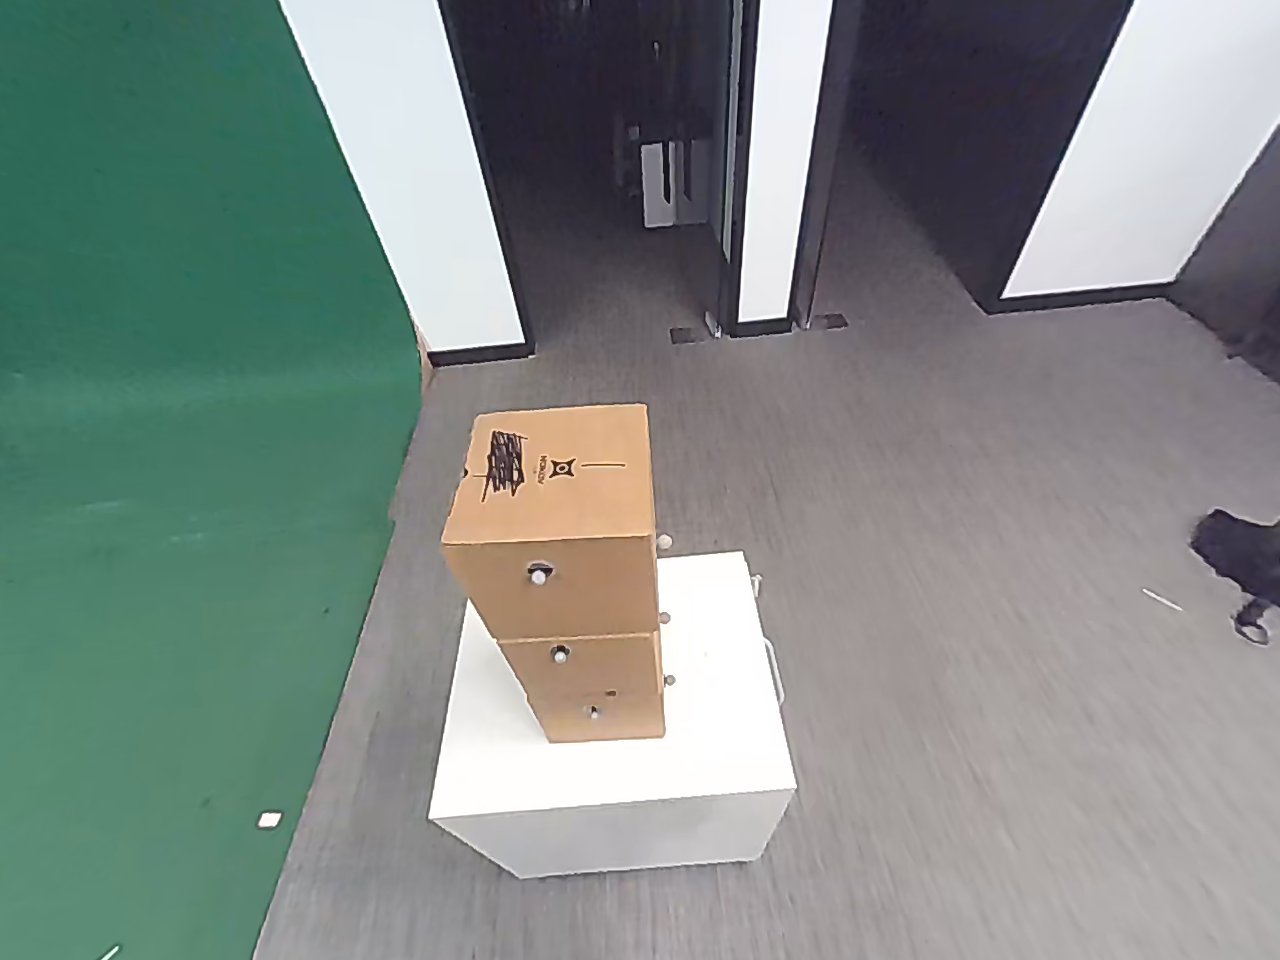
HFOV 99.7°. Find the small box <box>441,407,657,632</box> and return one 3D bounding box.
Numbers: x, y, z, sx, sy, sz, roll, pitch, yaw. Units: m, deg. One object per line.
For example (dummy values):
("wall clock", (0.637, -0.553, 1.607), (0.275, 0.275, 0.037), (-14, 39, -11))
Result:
("small box", (-0.076, 0.045, 0.559), (0.179, 0.176, 0.168), (-3, 47, 2))

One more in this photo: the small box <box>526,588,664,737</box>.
("small box", (-0.057, 0.268, 0.799), (0.179, 0.176, 0.168), (-3, 47, 1))

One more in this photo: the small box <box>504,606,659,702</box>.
("small box", (-0.063, 0.158, 0.682), (0.168, 0.176, 0.179), (-4, 48, 0))
